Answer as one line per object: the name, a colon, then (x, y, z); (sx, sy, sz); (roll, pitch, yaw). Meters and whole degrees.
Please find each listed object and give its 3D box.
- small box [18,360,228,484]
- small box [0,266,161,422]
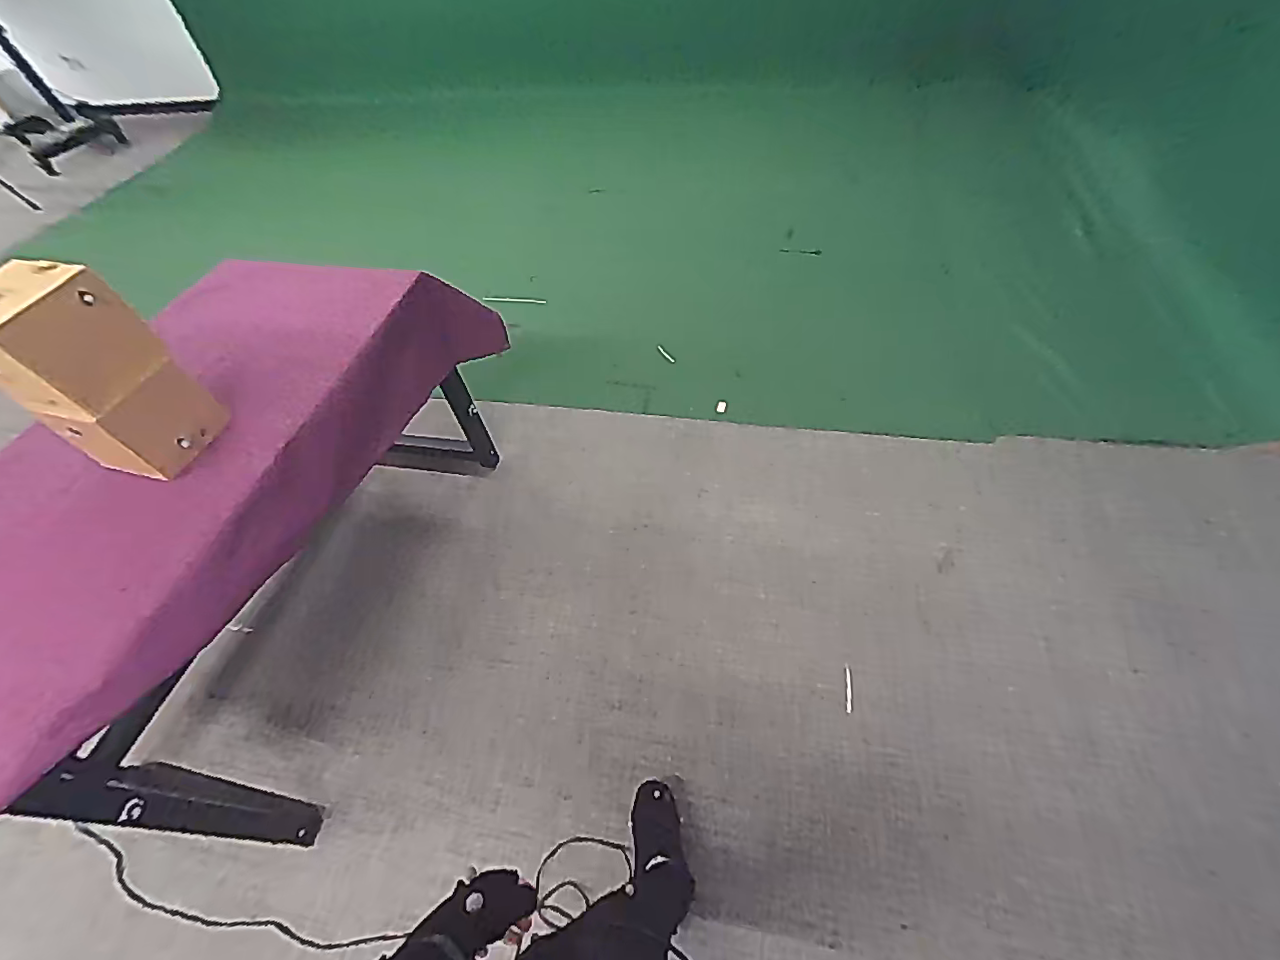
small box: (-0.922, -0.111, 0.984); (0.179, 0.176, 0.168); (11, 56, 14)
small box: (-0.938, -0.213, 0.860); (0.168, 0.176, 0.179); (9, 55, 13)
